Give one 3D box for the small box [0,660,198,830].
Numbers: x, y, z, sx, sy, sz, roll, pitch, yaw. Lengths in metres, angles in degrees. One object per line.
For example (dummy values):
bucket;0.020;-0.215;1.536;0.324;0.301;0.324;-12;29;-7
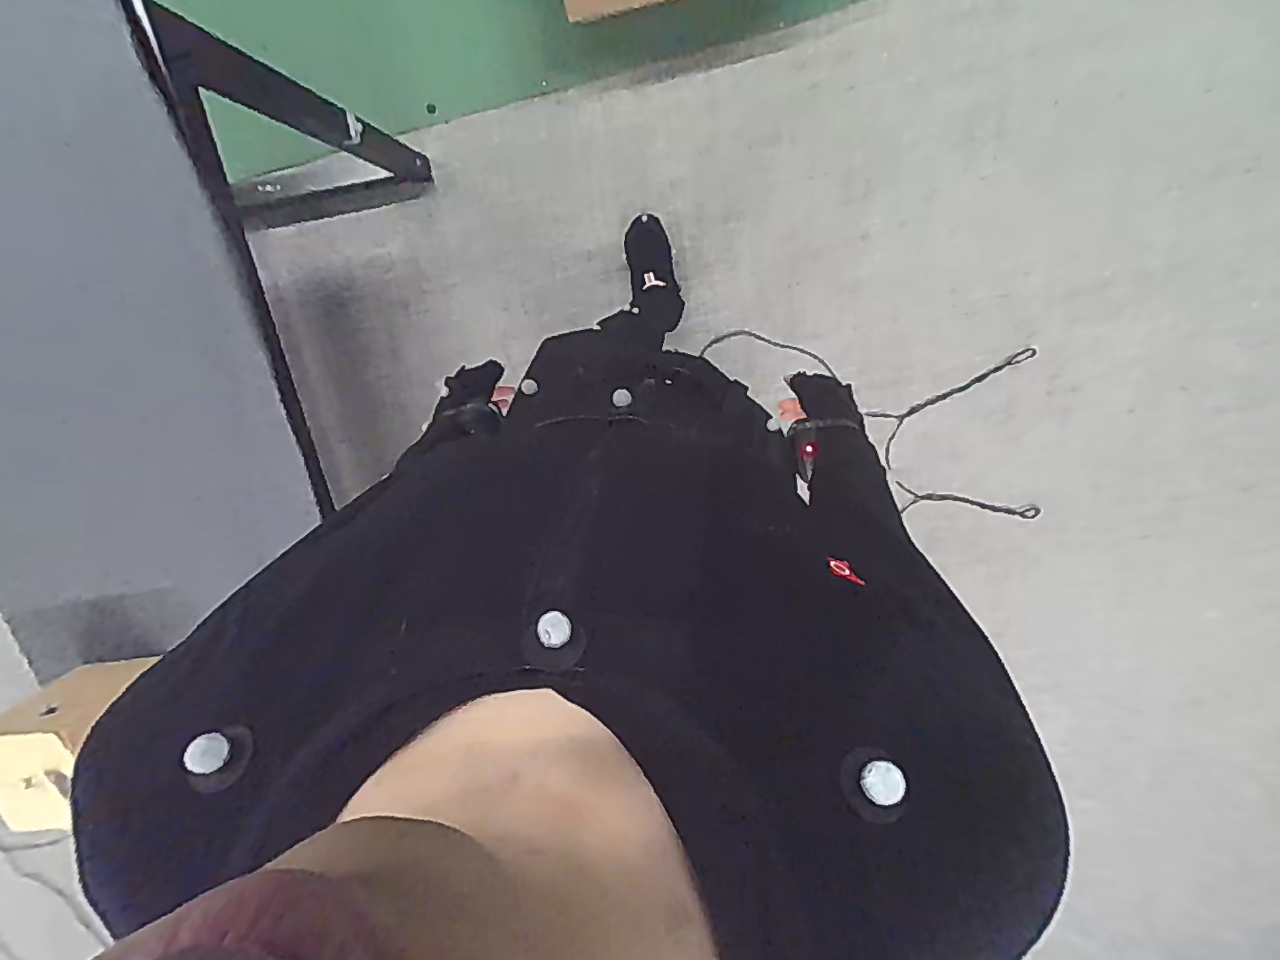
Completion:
small box;-0.833;0.395;0.828;0.179;0.176;0.168;-8;107;8
